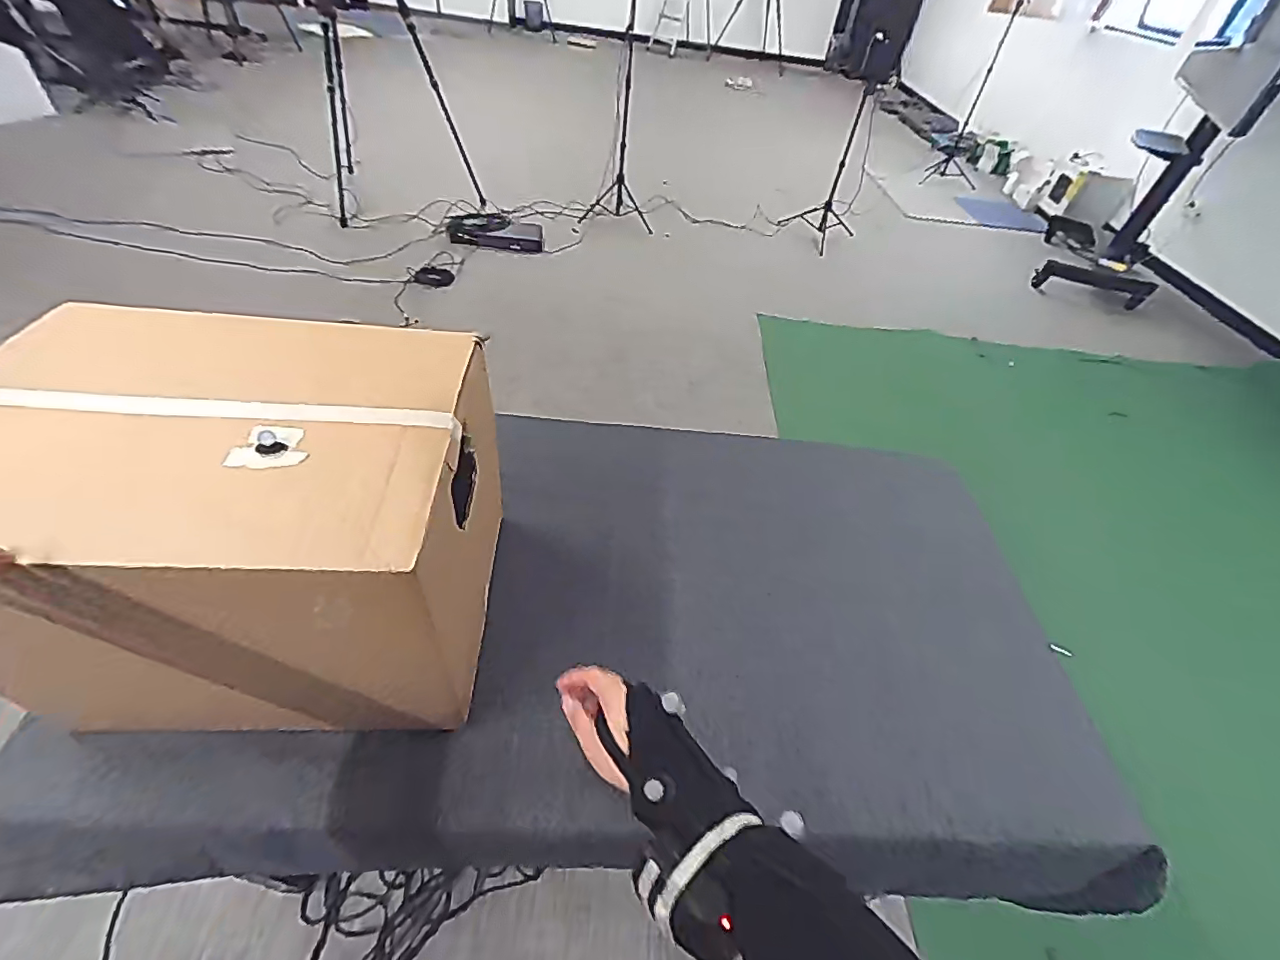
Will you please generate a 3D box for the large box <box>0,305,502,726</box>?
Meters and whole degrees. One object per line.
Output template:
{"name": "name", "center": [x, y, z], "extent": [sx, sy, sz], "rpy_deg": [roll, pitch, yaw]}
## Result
{"name": "large box", "center": [-0.372, 0.045, 0.573], "extent": [0.408, 0.320, 0.320], "rpy_deg": [3, 47, -8]}
